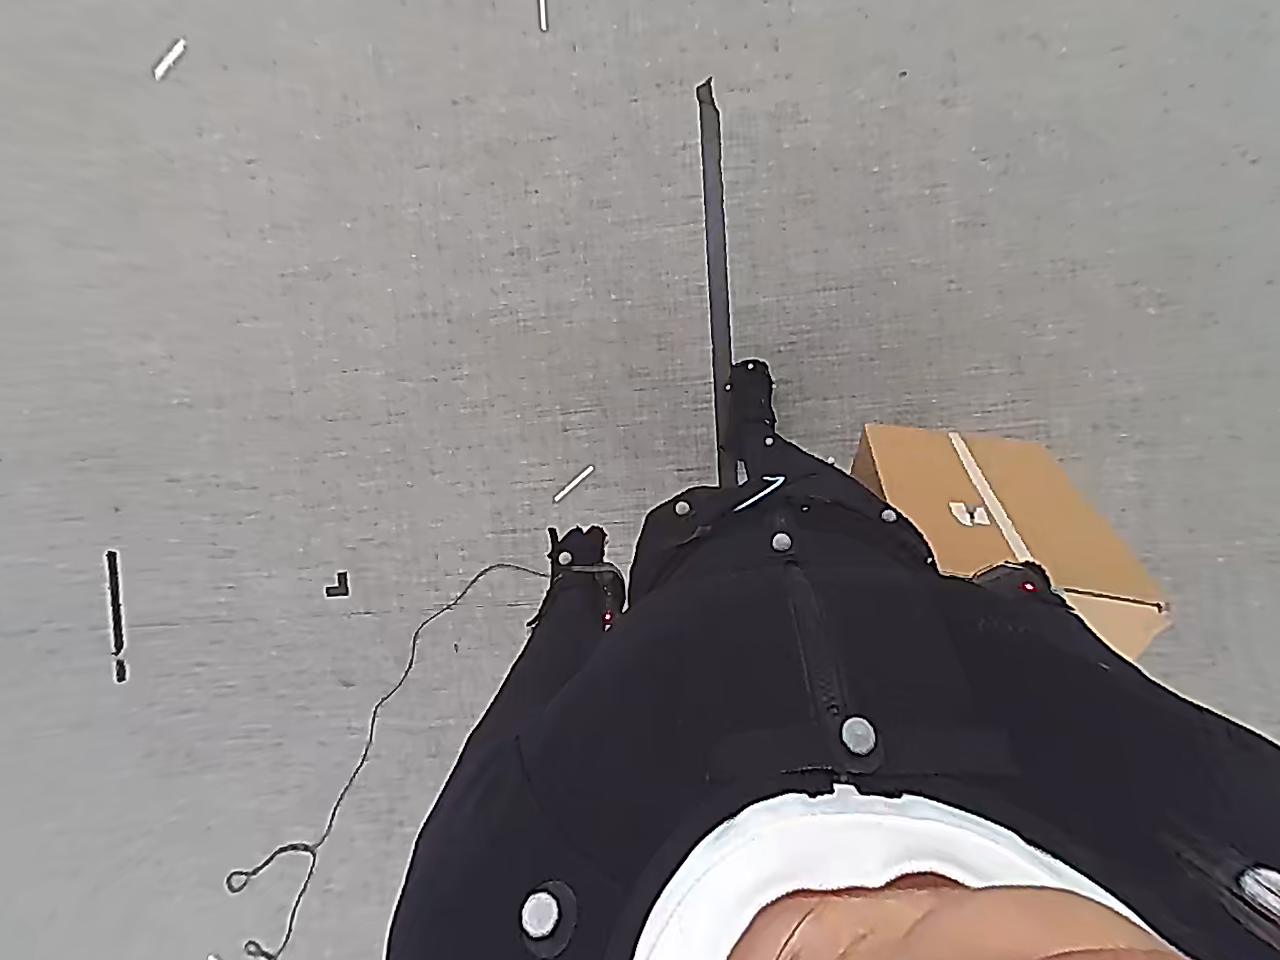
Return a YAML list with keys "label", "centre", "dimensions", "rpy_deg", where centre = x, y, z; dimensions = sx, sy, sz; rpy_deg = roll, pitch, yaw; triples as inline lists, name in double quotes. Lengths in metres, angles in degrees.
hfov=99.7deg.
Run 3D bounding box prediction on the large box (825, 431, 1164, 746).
- label: "large box"
  centre: [0.525, 0.160, 0.928]
  dimensions: [0.320, 0.408, 0.320]
  rpy_deg: [8, 125, 8]
